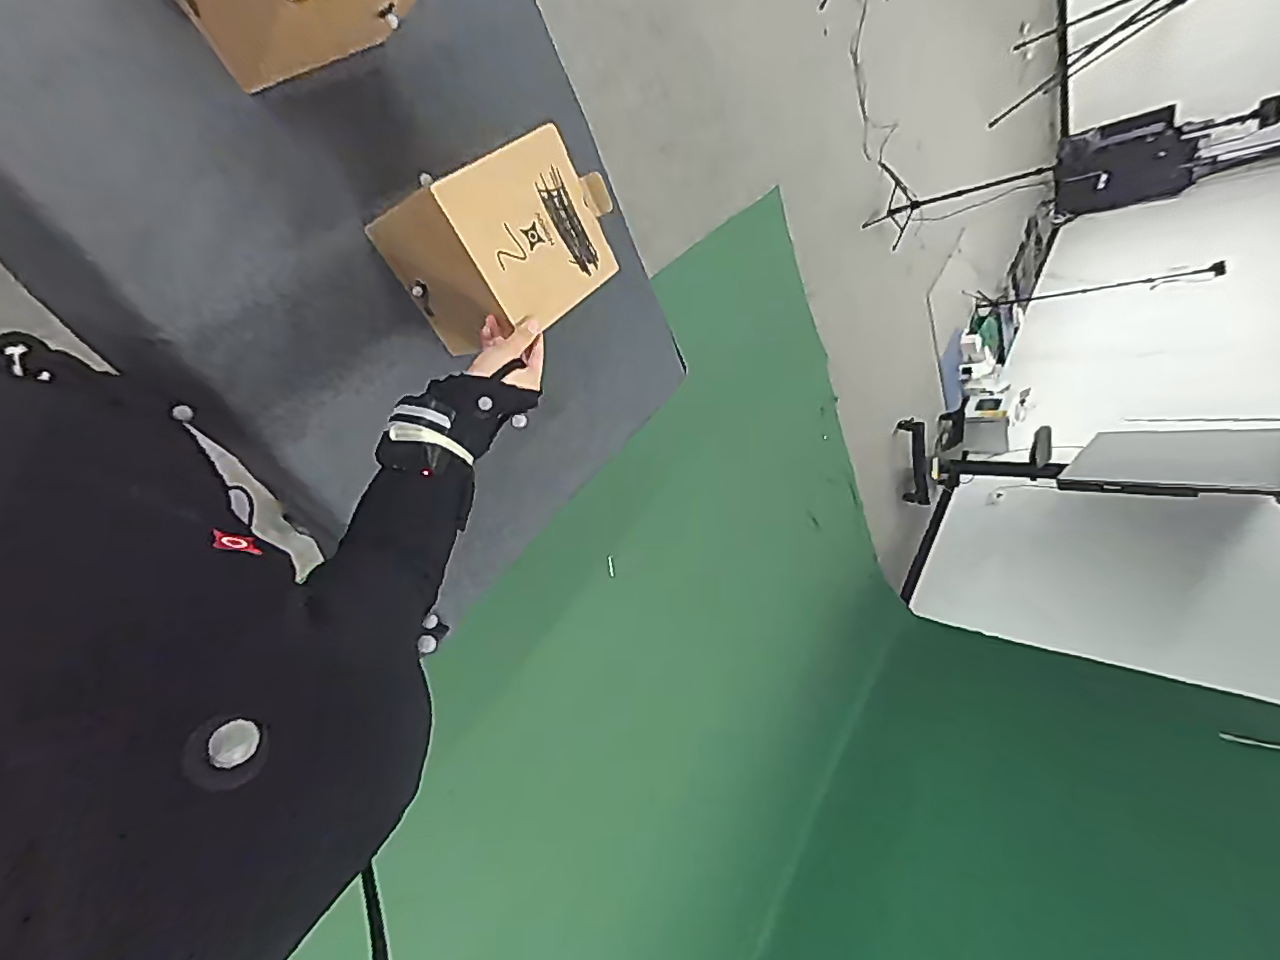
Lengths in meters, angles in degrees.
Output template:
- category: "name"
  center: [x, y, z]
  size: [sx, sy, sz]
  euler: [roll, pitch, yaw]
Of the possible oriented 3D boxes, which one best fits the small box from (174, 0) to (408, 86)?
- category: "small box"
  center: [-0.309, -0.481, 0.457]
  size: [0.179, 0.176, 0.168]
  euler: [-53, 127, -29]
